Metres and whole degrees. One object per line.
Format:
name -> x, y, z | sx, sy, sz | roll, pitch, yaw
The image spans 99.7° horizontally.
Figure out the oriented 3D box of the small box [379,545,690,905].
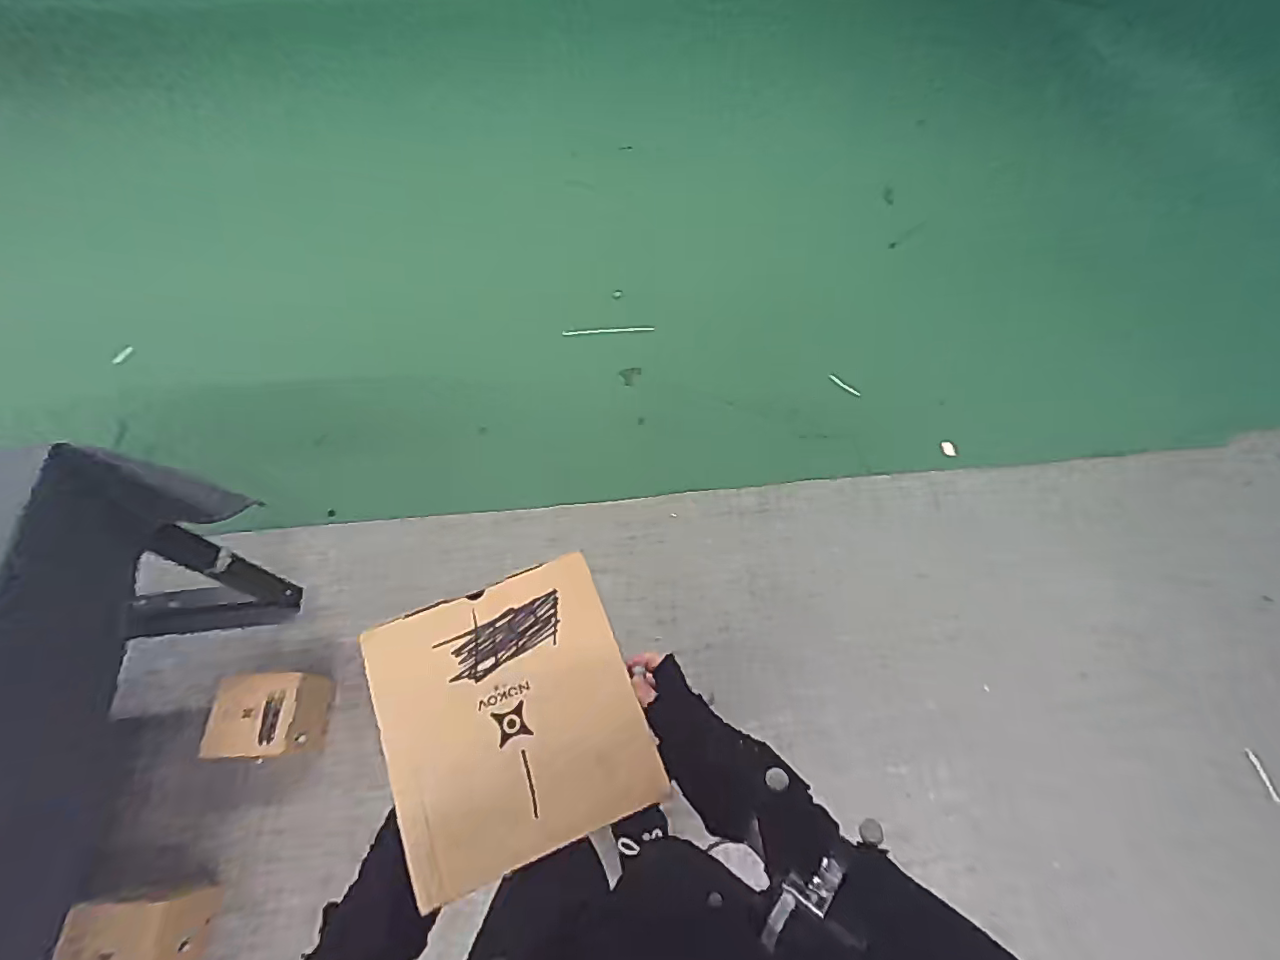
small box -> -0.077, 0.176, 0.424 | 0.168, 0.176, 0.179 | -19, 69, -10
